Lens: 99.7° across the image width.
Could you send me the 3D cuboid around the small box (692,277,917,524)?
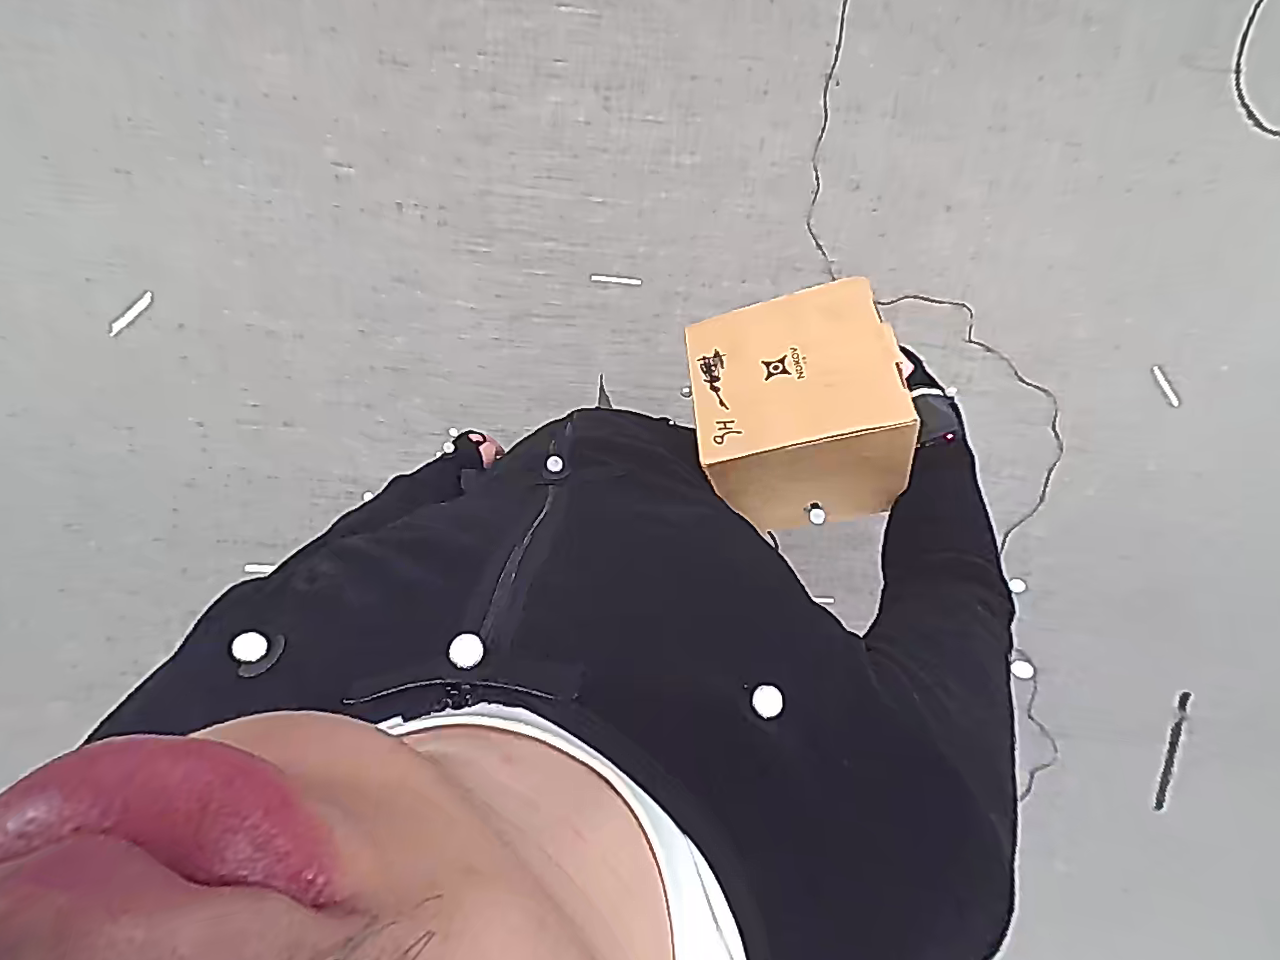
[{"bbox_3d":[0.163,-0.069,0.560,0.179,0.176,0.168,-12,59,15],"label":"small box"}]
